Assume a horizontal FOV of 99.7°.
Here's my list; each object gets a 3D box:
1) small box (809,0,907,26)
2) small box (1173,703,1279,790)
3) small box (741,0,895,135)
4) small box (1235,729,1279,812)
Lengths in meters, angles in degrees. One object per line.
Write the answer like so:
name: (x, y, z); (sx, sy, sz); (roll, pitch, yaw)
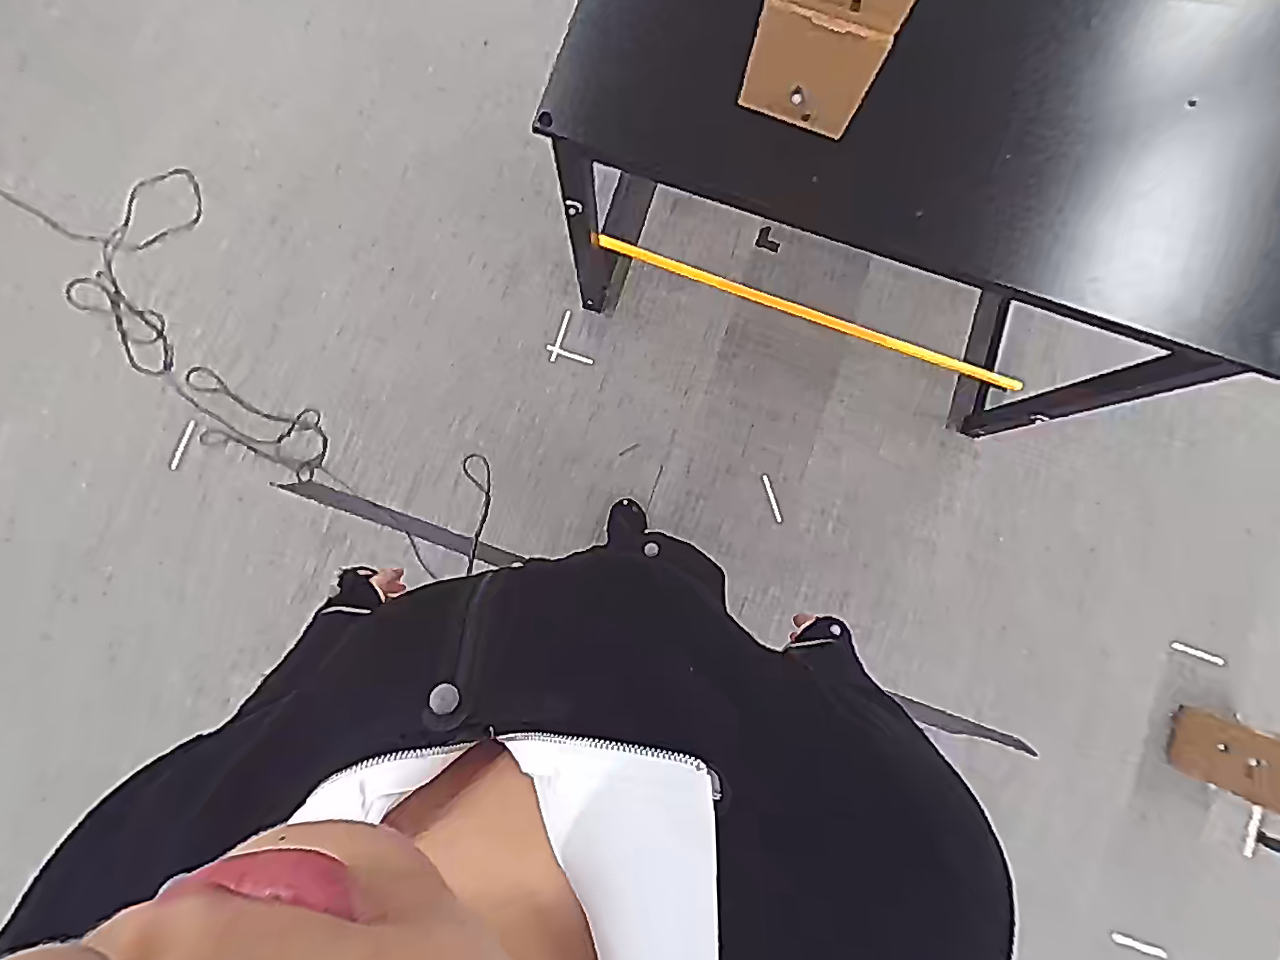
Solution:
small box: (0.258, -0.659, 0.590); (0.168, 0.176, 0.179); (17, 86, 0)
small box: (1.559, 0.710, 1.409); (0.168, 0.176, 0.179); (17, 86, 0)
small box: (0.254, -0.637, 0.753); (0.168, 0.176, 0.179); (20, 85, 1)
small box: (1.559, 0.700, 1.247); (0.179, 0.176, 0.168); (15, 84, 1)
